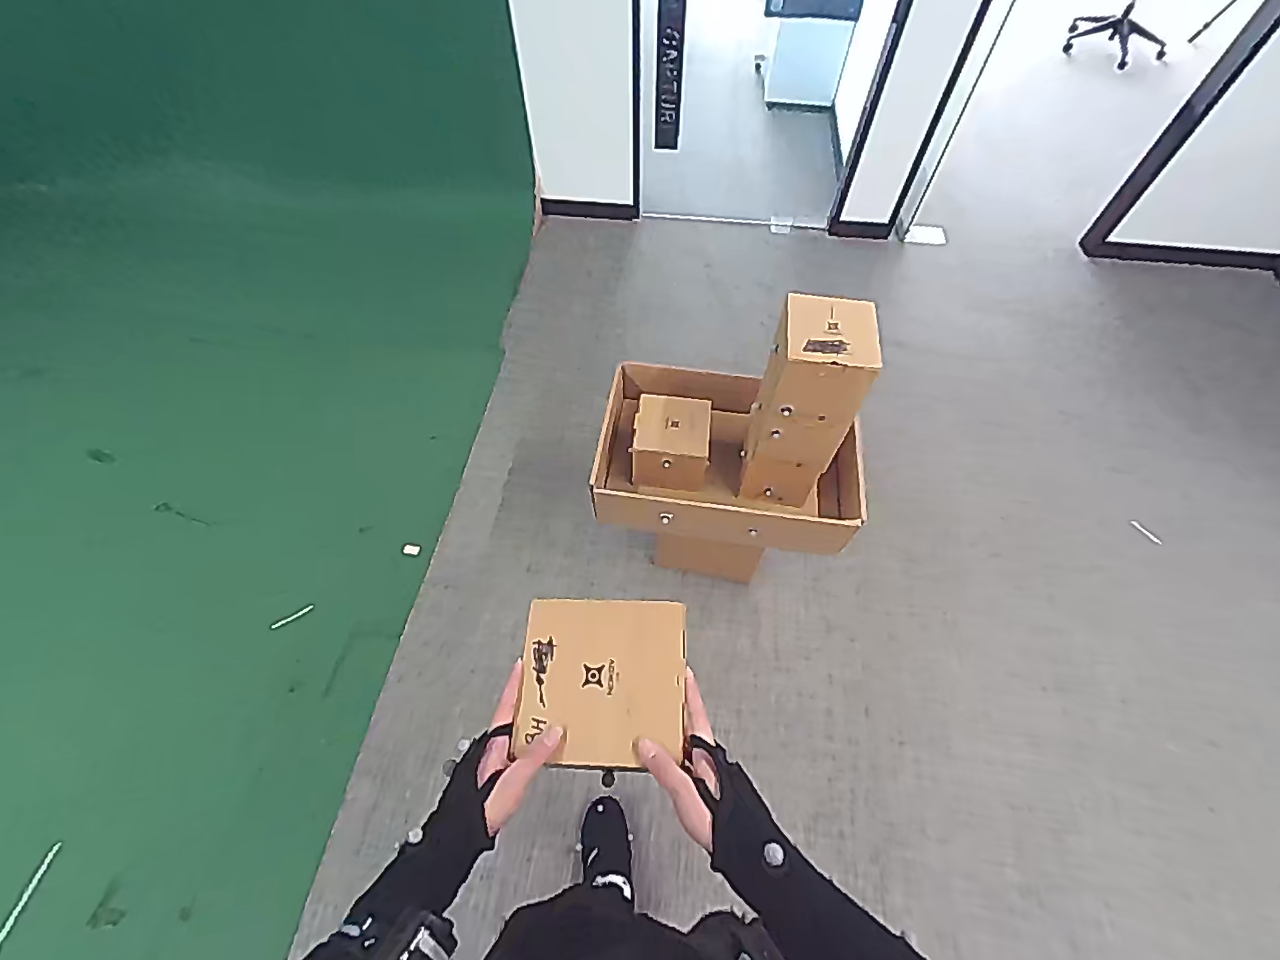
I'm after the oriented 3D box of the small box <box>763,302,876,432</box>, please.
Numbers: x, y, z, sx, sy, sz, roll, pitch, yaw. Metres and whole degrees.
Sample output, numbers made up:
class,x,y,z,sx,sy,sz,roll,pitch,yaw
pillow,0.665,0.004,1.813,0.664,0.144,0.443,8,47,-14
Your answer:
class,x,y,z,sx,sy,sz,roll,pitch,yaw
small box,0.340,-0.214,1.047,0.168,0.176,0.179,8,57,3

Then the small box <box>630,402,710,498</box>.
class,x,y,z,sx,sy,sz,roll,pitch,yaw
small box,0.070,-0.070,1.338,0.179,0.176,0.168,8,58,2

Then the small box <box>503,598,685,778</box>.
class,x,y,z,sx,sy,sz,roll,pitch,yaw
small box,-0.041,0.247,0.631,0.179,0.176,0.168,2,59,3
